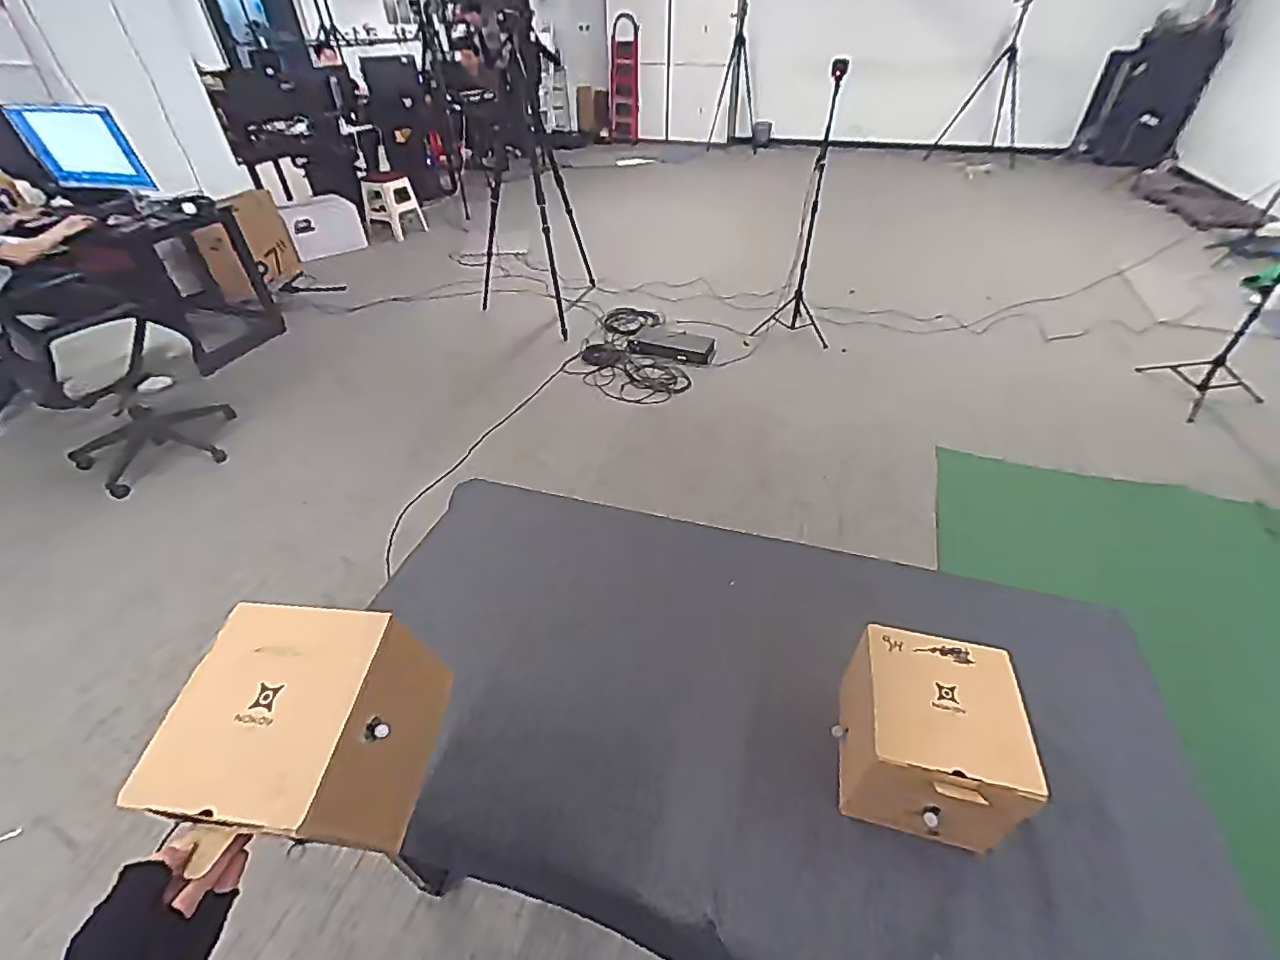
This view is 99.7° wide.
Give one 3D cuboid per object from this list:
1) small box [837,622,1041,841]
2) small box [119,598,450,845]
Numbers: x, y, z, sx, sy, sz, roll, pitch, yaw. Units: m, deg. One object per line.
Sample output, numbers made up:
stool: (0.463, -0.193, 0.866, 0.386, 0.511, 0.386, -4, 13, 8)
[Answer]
small box: (0.348, 0.310, 0.669, 0.168, 0.176, 0.179, 10, 43, 12)
small box: (-0.307, 0.234, 0.519, 0.168, 0.176, 0.179, 2, 52, 8)
